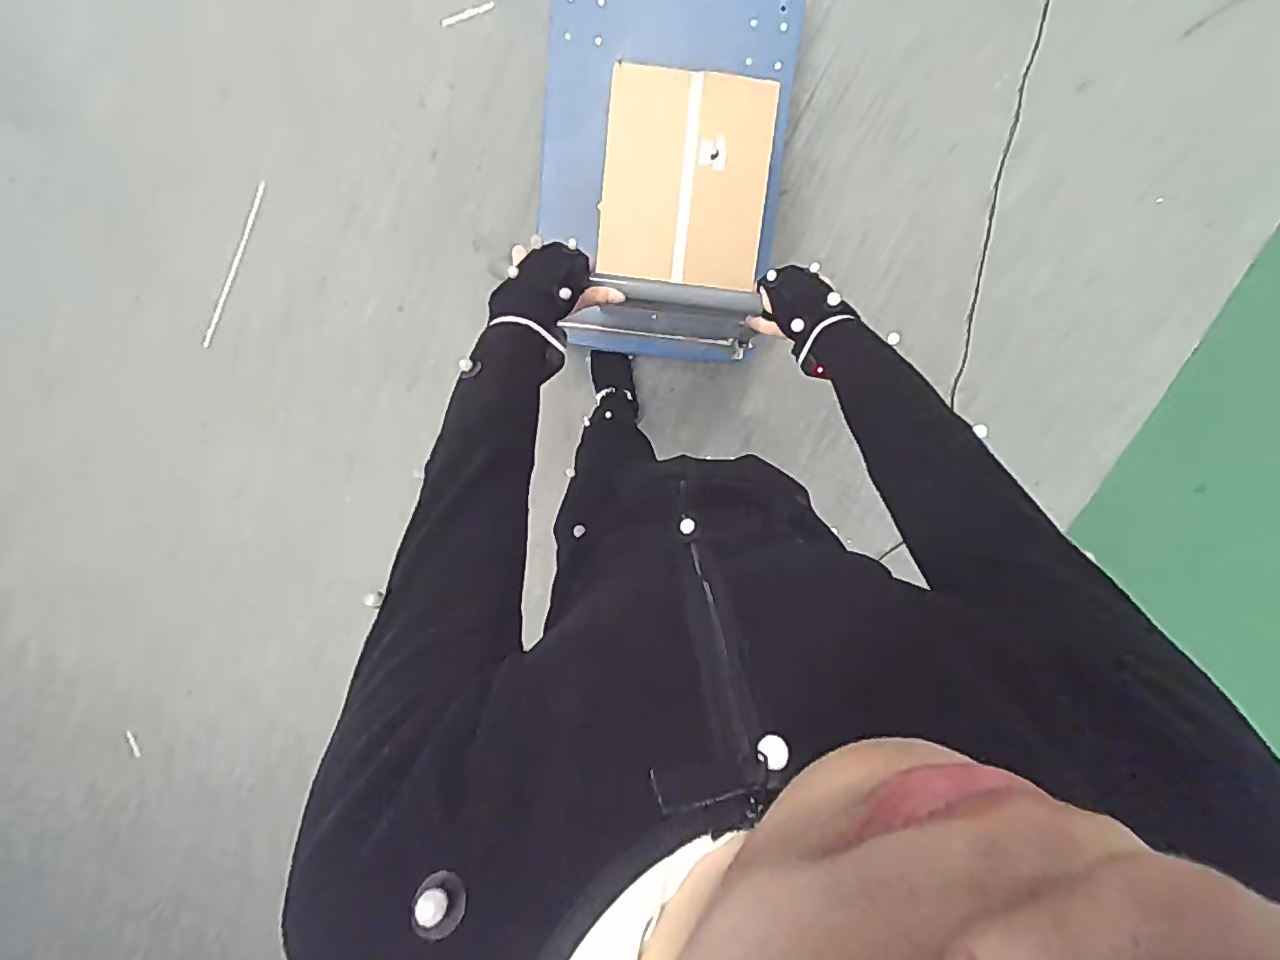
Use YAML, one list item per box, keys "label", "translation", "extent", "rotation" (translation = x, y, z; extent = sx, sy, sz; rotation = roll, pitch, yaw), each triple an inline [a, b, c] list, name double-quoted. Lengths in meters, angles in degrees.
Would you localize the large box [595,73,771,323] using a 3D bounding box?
- label: "large box"
  translation: [0.078, -0.581, 1.198]
  extent: [0.320, 0.320, 0.408]
  rotation: [6, 99, -3]
